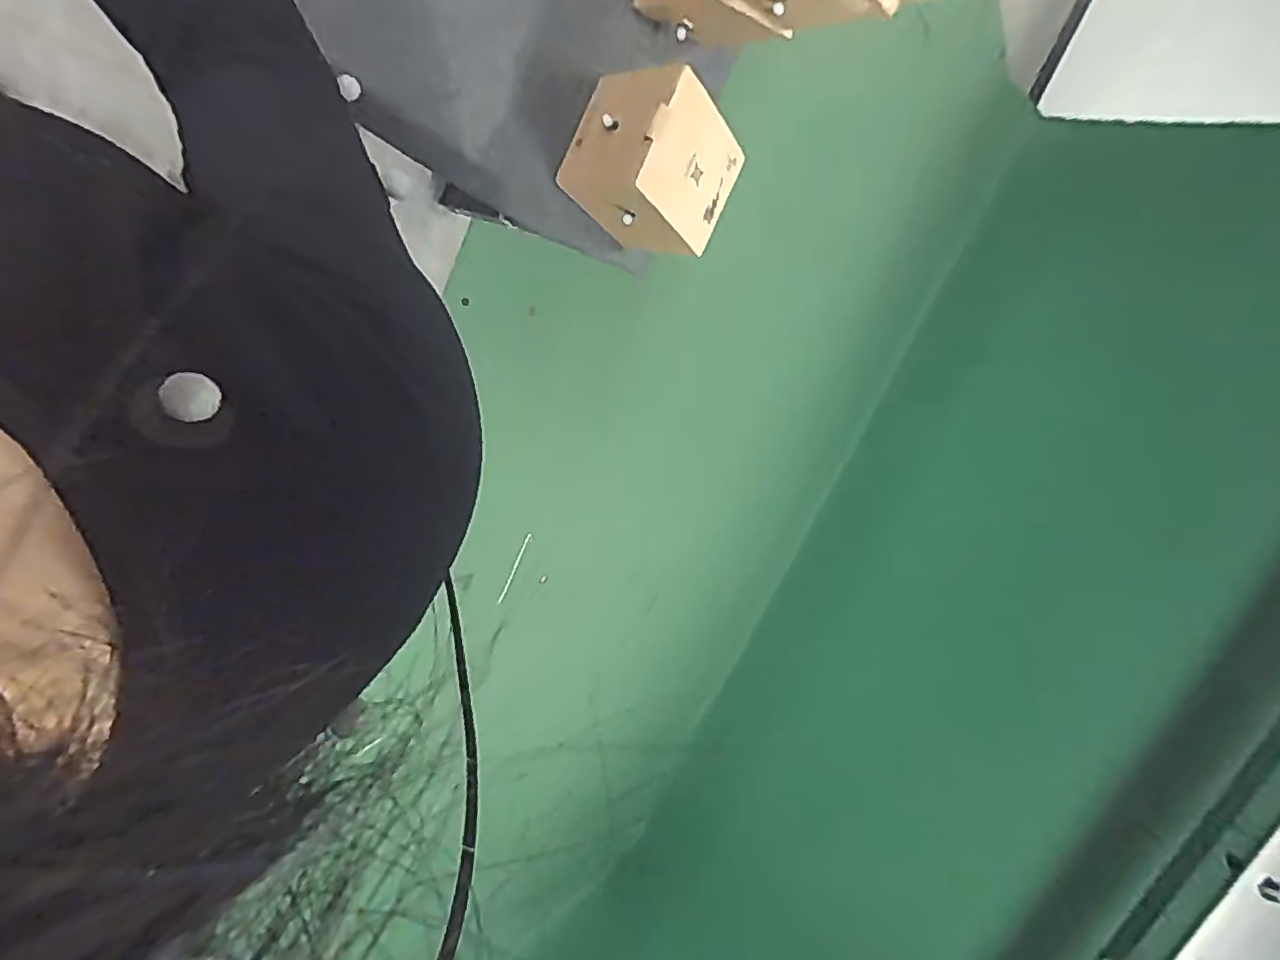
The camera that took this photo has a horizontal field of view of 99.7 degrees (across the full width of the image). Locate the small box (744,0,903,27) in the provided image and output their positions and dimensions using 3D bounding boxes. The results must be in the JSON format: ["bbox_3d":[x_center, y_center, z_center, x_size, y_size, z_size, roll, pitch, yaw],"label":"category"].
[{"bbox_3d":[0.209,-0.650,0.604,0.168,0.176,0.179,-9,122,-40],"label":"small box"}]

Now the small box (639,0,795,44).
[{"bbox_3d":[0.115,-0.718,0.722,0.168,0.176,0.179,-14,126,-39],"label":"small box"}]

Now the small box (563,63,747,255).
[{"bbox_3d":[0.019,-0.455,0.793,0.179,0.176,0.168,21,95,-50],"label":"small box"}]
